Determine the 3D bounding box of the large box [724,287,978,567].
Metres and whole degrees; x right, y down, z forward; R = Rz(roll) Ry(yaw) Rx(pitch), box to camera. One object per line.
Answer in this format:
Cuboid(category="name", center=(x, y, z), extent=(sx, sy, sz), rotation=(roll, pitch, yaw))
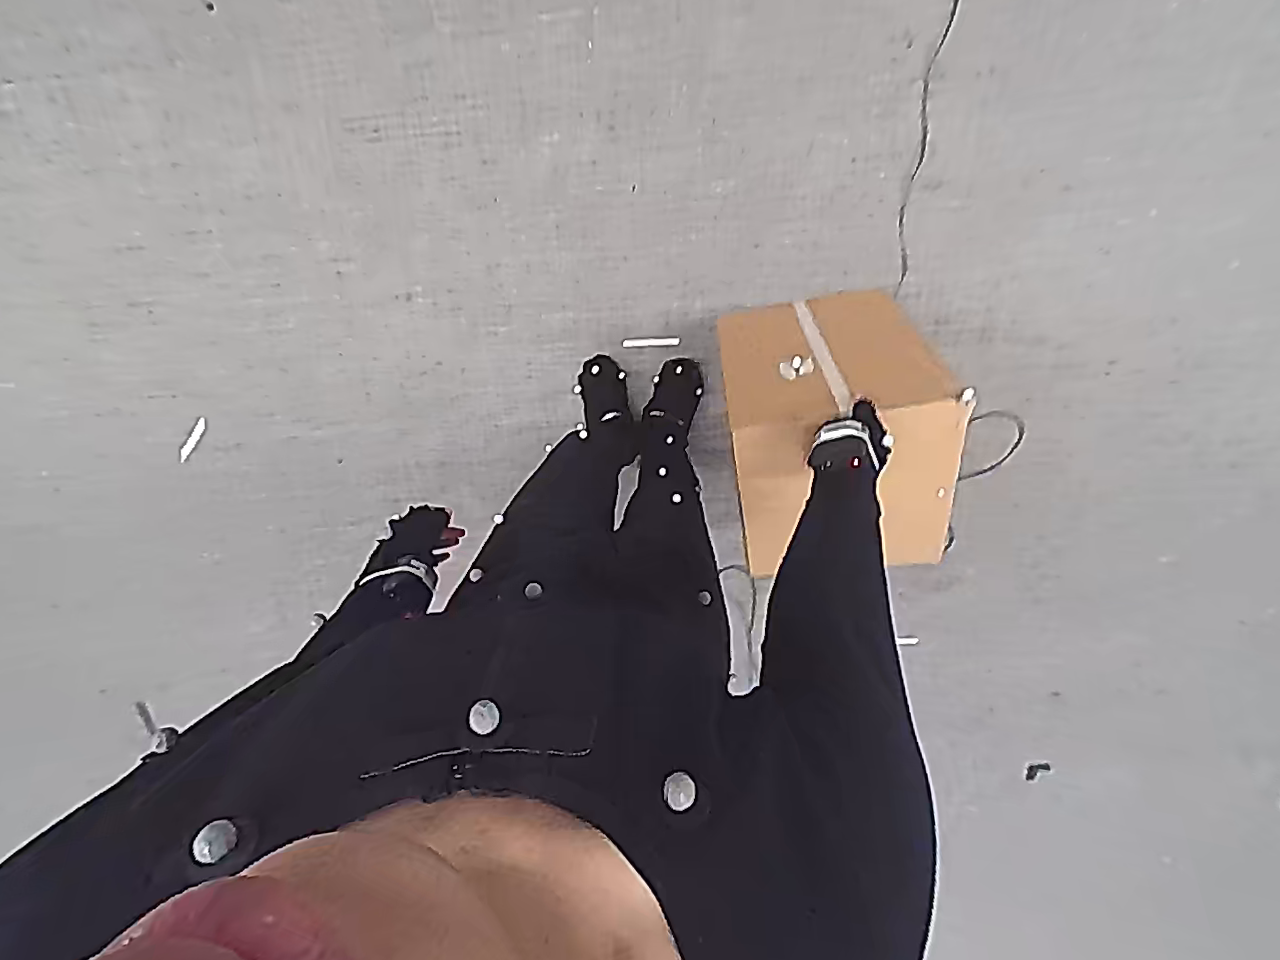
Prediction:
Cuboid(category="large box", center=(0.335, -0.103, 0.978), extent=(0.320, 0.408, 0.320), rotation=(-8, 129, 11))
